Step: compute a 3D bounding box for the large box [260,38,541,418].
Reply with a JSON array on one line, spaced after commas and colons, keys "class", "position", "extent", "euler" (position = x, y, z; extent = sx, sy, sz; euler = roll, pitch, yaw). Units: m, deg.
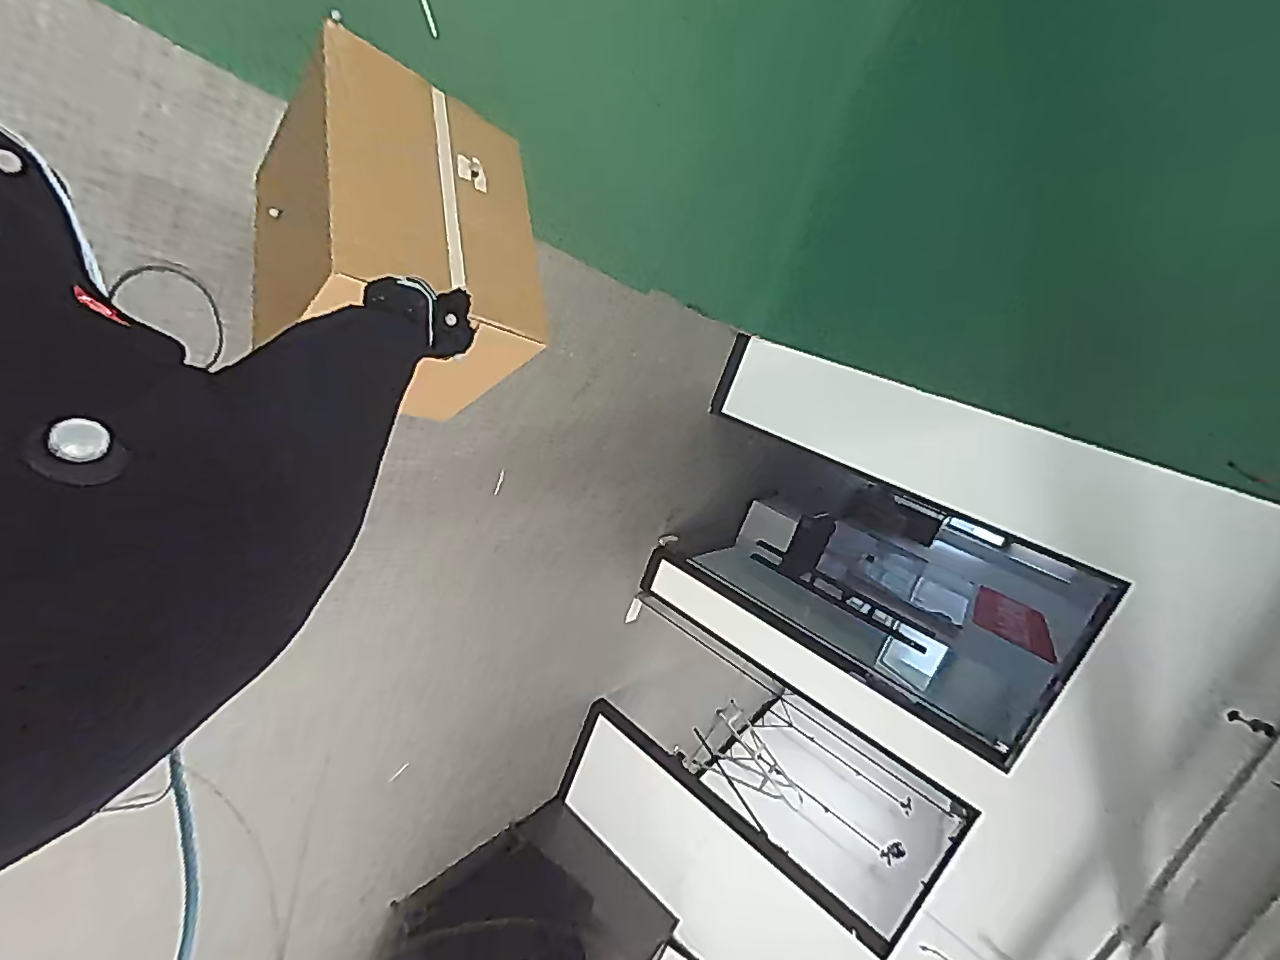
[{"class": "large box", "position": [-0.402, -0.356, 0.884], "extent": [0.320, 0.320, 0.408], "euler": [7, 65, -48]}]
